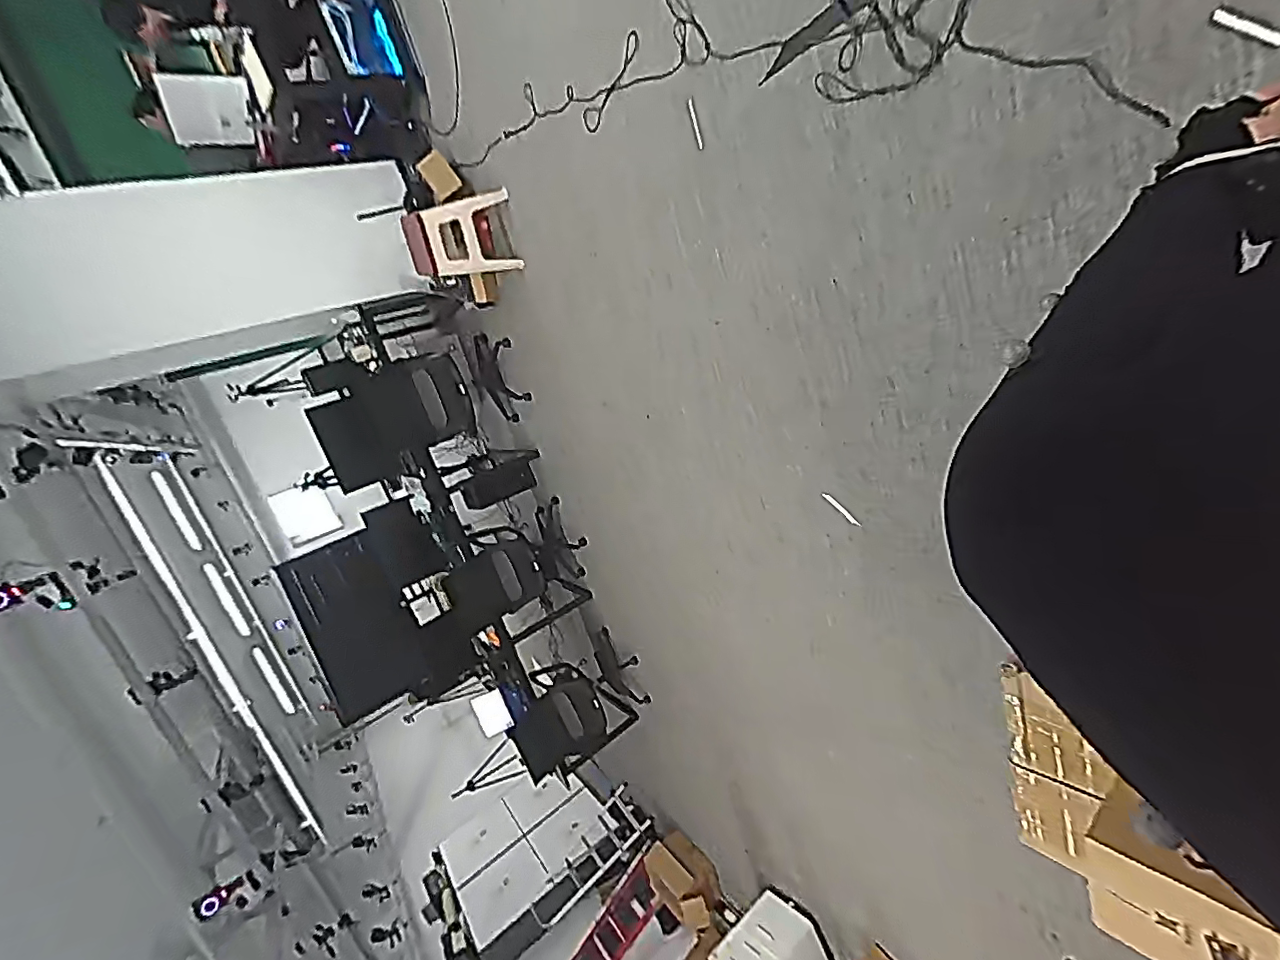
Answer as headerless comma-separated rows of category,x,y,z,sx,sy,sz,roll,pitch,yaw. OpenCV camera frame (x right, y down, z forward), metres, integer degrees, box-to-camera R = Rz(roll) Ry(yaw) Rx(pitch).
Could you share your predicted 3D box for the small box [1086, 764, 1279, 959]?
small box,0.714,0.510,0.693,0.179,0.176,0.168,8,119,57
